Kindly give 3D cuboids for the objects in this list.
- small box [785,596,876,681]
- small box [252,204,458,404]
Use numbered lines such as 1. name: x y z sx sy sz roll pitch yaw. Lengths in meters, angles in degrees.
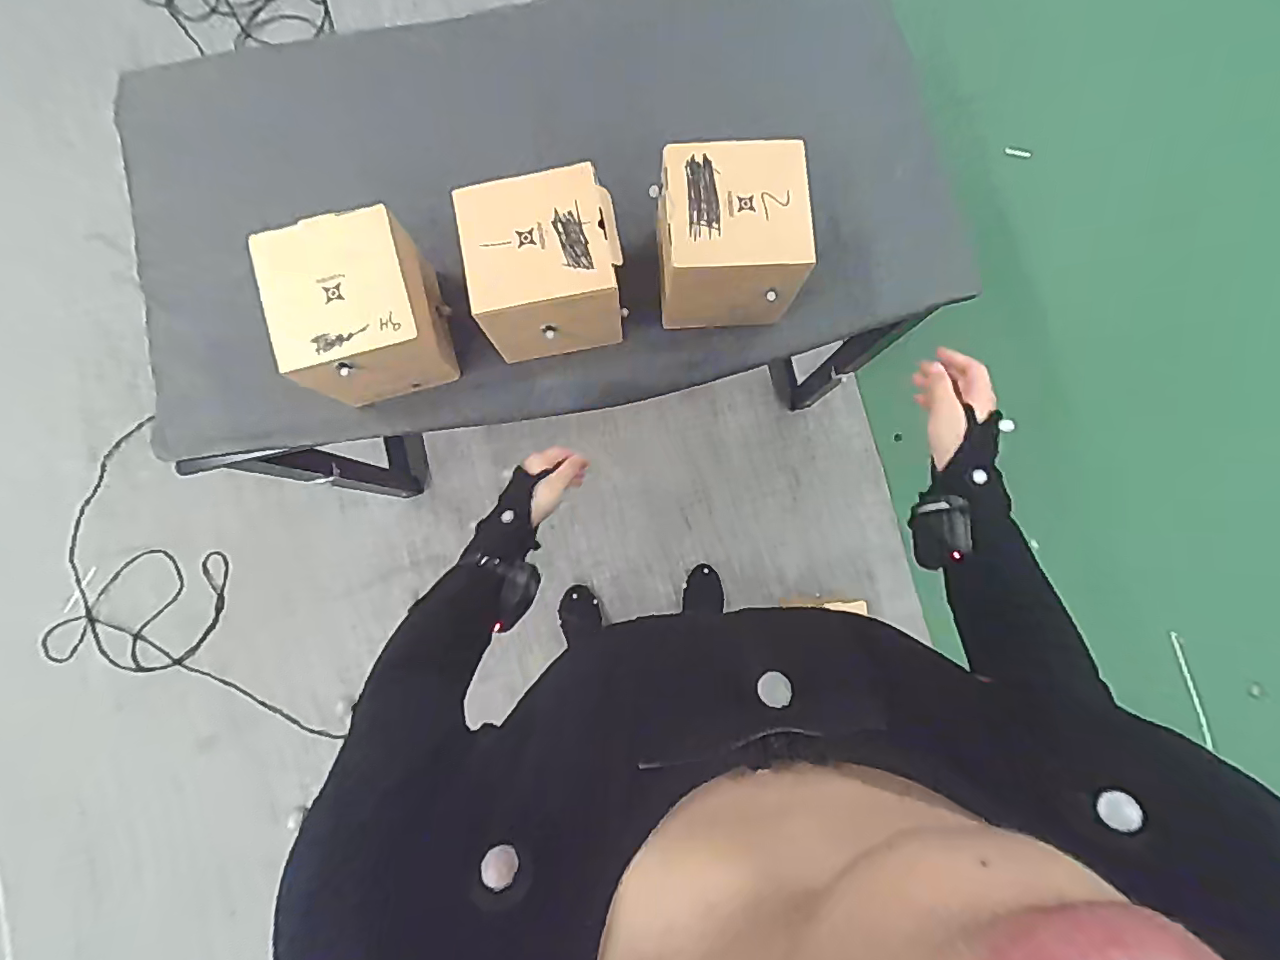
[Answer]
1. small box: 0.479 0.399 1.383 0.168 0.176 0.179 -5 84 -1
2. small box: -0.359 -0.218 0.710 0.168 0.176 0.179 -15 84 -2
